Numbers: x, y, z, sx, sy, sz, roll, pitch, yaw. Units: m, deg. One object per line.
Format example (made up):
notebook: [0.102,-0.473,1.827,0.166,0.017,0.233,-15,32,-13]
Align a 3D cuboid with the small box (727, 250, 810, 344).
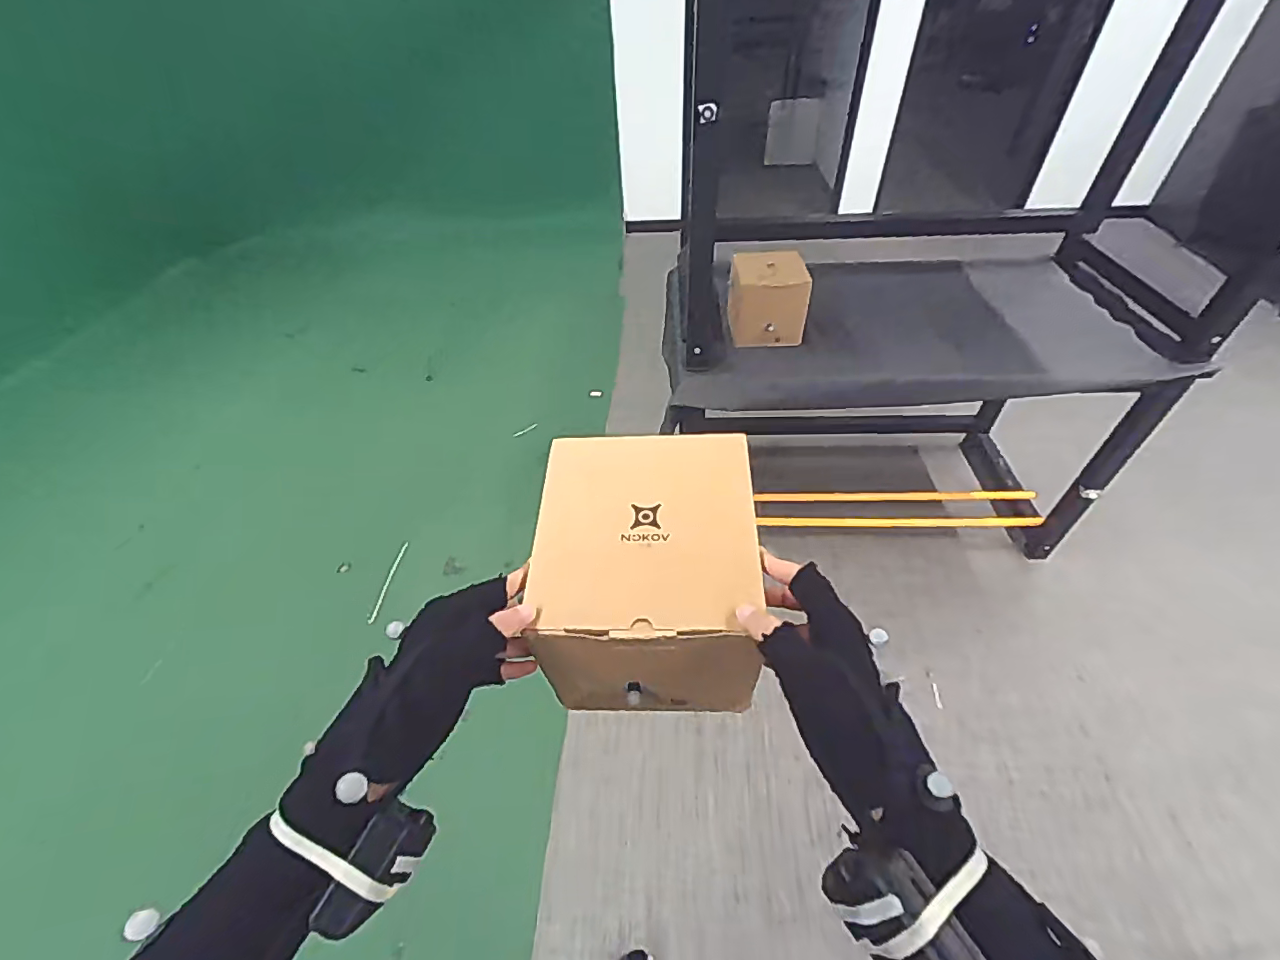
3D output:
small box: [0.311,-0.458,1.354,0.168,0.176,0.179,-2,45,2]
